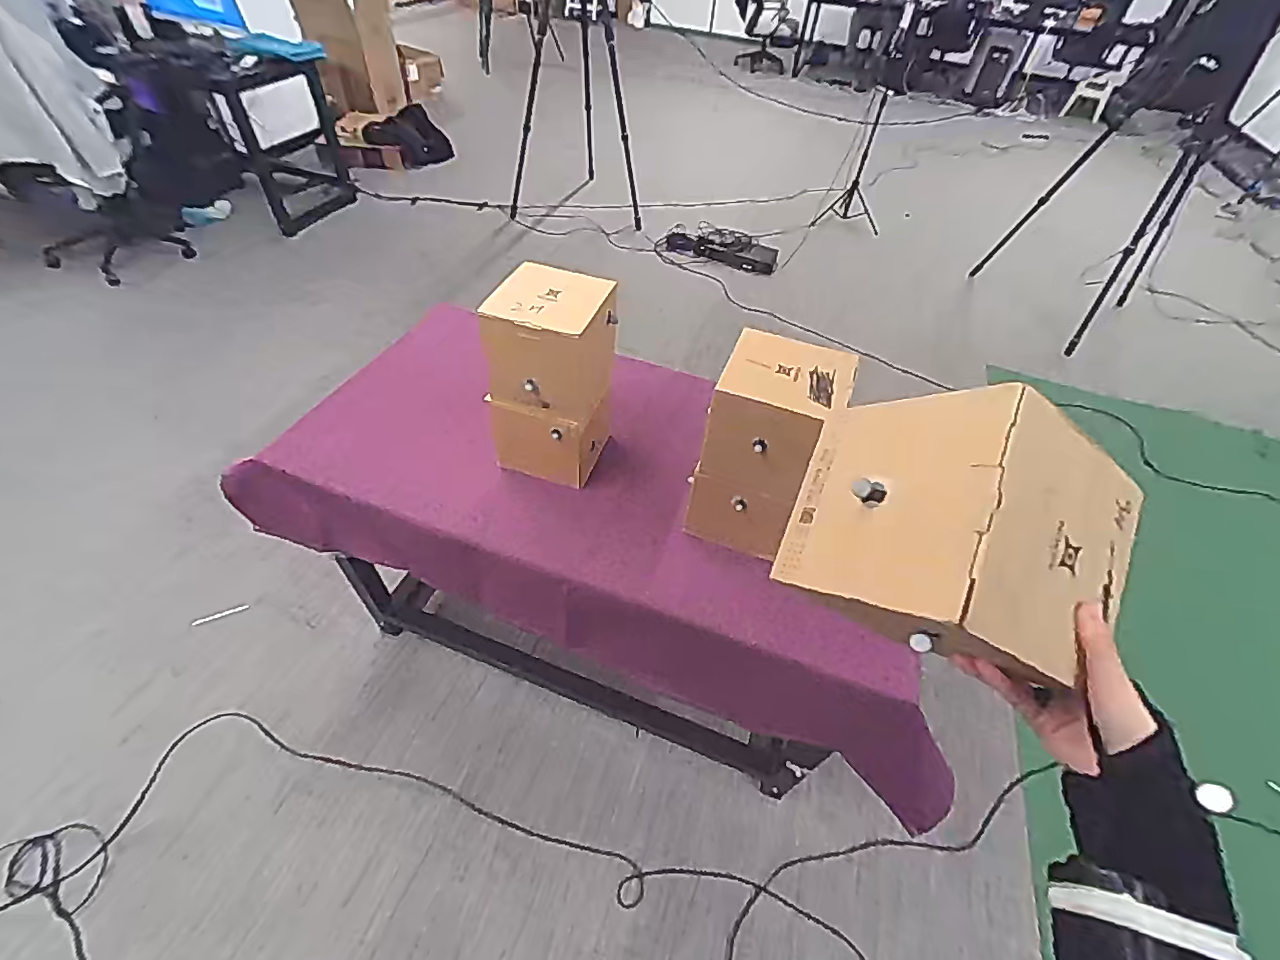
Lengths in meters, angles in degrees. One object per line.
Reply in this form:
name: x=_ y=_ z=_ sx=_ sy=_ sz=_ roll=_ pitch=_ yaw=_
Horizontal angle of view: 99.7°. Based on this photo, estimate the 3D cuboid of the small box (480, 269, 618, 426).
small box: x=-0.145 y=-0.221 z=0.904 sx=0.168 sy=0.176 sz=0.179 roll=15 pitch=48 yaw=8

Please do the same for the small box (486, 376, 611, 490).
small box: x=-0.165 y=-0.104 z=1.020 sx=0.179 sy=0.176 sz=0.168 roll=16 pitch=48 yaw=8

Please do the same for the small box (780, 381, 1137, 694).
small box: x=0.246 y=0.046 z=0.439 sx=0.179 sy=0.176 sz=0.168 roll=27 pitch=78 yaw=-23

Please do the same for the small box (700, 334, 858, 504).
small box: x=0.203 y=-0.088 z=0.814 sx=0.179 sy=0.176 sz=0.168 roll=18 pitch=50 yaw=12

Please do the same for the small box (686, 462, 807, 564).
small box: x=0.190 y=0.019 z=0.937 sx=0.179 sy=0.176 sz=0.168 roll=19 pitch=50 yaw=11
